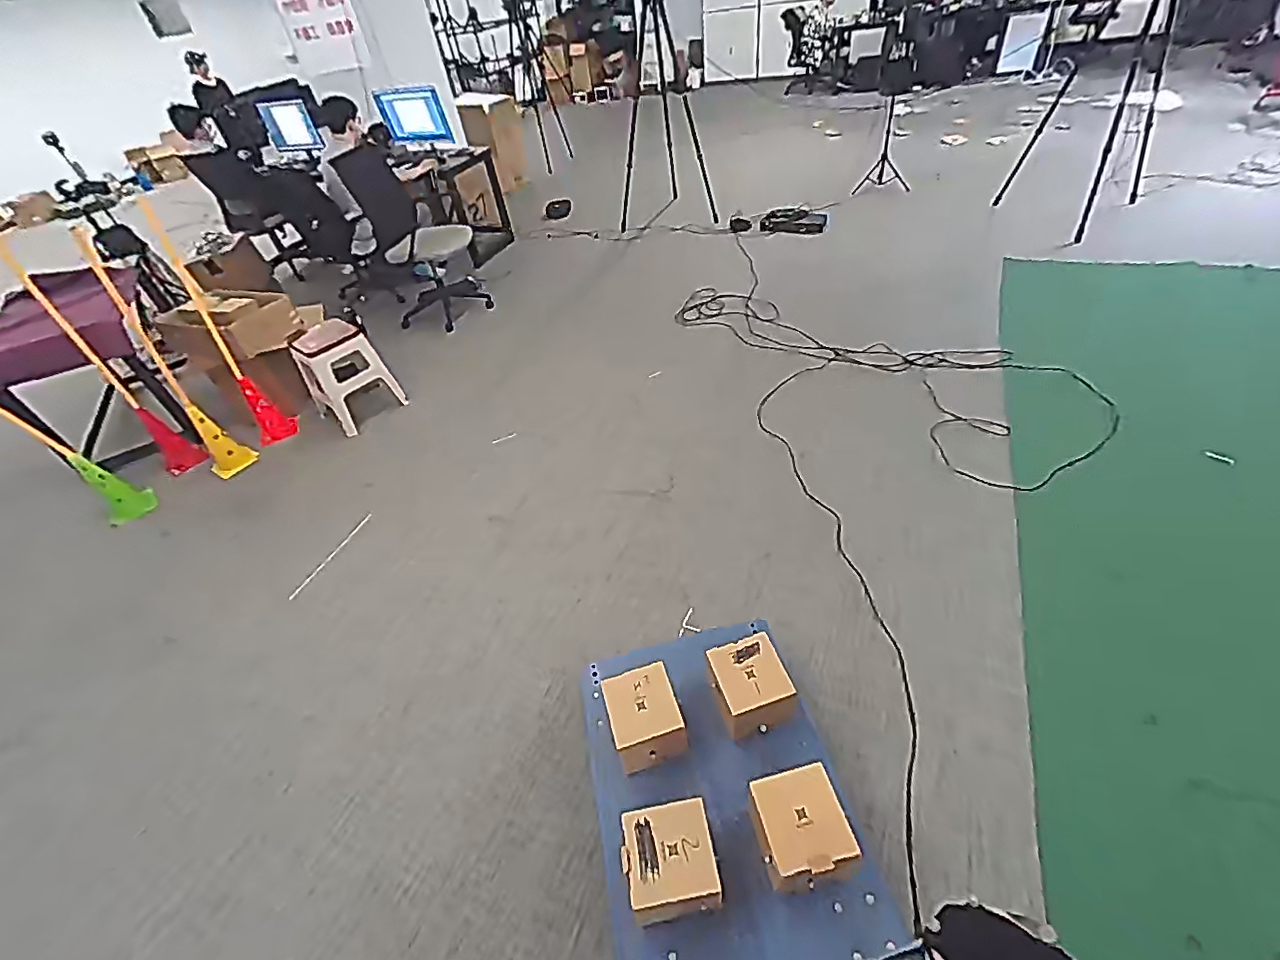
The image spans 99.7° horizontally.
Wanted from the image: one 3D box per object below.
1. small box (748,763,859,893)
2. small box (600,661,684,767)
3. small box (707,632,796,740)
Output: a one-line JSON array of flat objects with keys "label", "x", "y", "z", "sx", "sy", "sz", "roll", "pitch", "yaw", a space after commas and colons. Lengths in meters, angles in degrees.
[{"label": "small box", "x": 0.333, "y": 0.736, "z": 1.144, "sx": 0.168, "sy": 0.176, "sz": 0.179, "roll": -13, "pitch": 44, "yaw": -5}, {"label": "small box", "x": 0.008, "y": 0.589, "z": 1.347, "sx": 0.168, "sy": 0.176, "sz": 0.179, "roll": -15, "pitch": 44, "yaw": -8}, {"label": "small box", "x": 0.275, "y": 0.523, "z": 1.373, "sx": 0.168, "sy": 0.176, "sz": 0.179, "roll": -16, "pitch": 45, "yaw": -7}]
